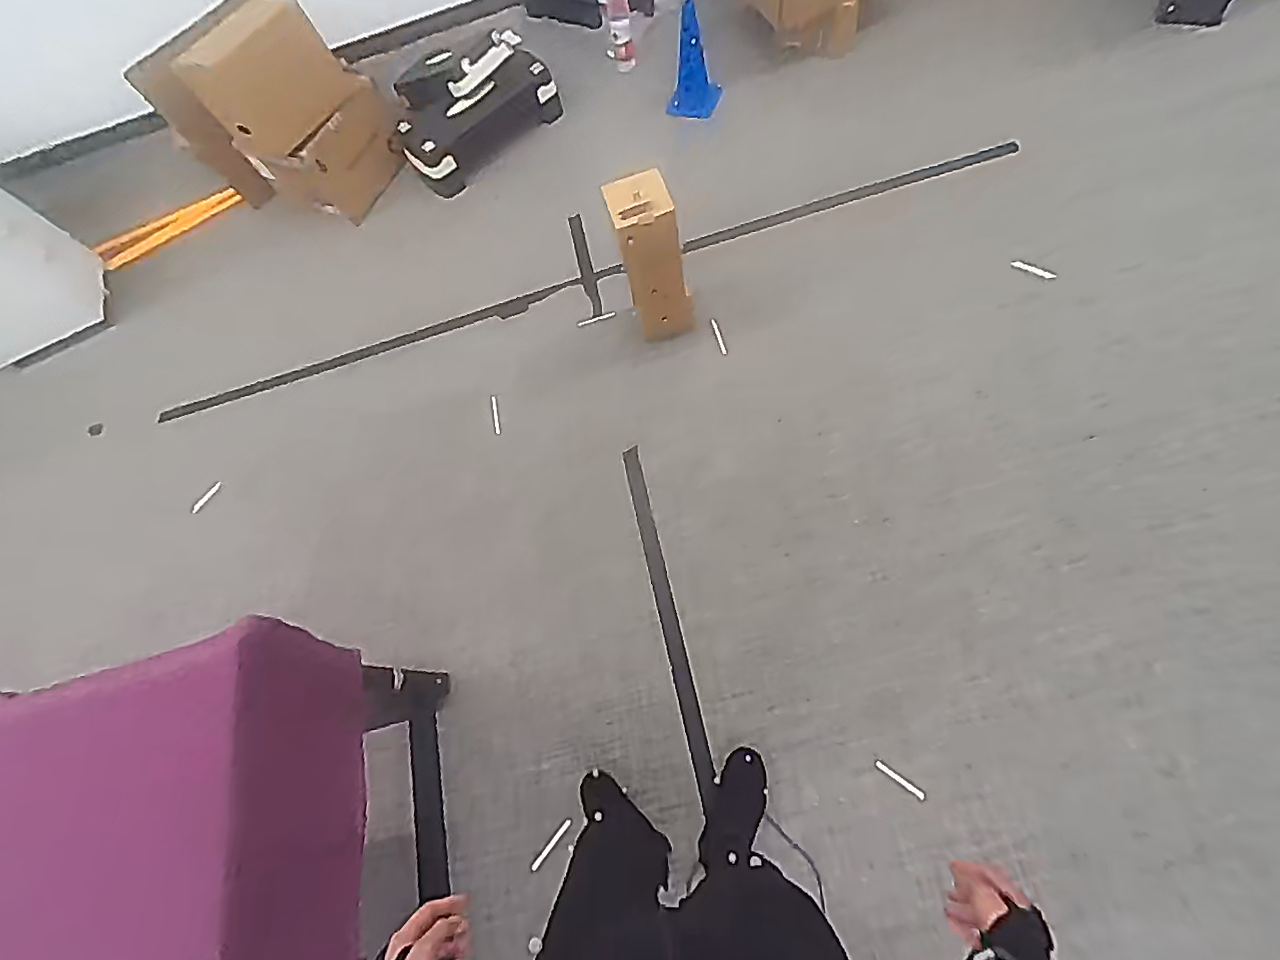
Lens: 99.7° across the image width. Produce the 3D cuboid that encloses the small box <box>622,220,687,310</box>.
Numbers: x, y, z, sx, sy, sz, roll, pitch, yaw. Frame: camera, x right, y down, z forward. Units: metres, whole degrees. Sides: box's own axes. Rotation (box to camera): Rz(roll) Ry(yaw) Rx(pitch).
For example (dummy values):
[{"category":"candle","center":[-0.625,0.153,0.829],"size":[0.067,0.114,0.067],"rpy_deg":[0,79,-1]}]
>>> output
[{"category":"small box","center":[0.046,-0.660,1.669],"size":[0.168,0.176,0.179],"rpy_deg":[-12,67,5]}]

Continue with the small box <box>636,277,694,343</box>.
[{"category":"small box","center":[0.079,-0.589,1.812],"size":[0.179,0.176,0.168],"rpy_deg":[-17,66,4]}]
